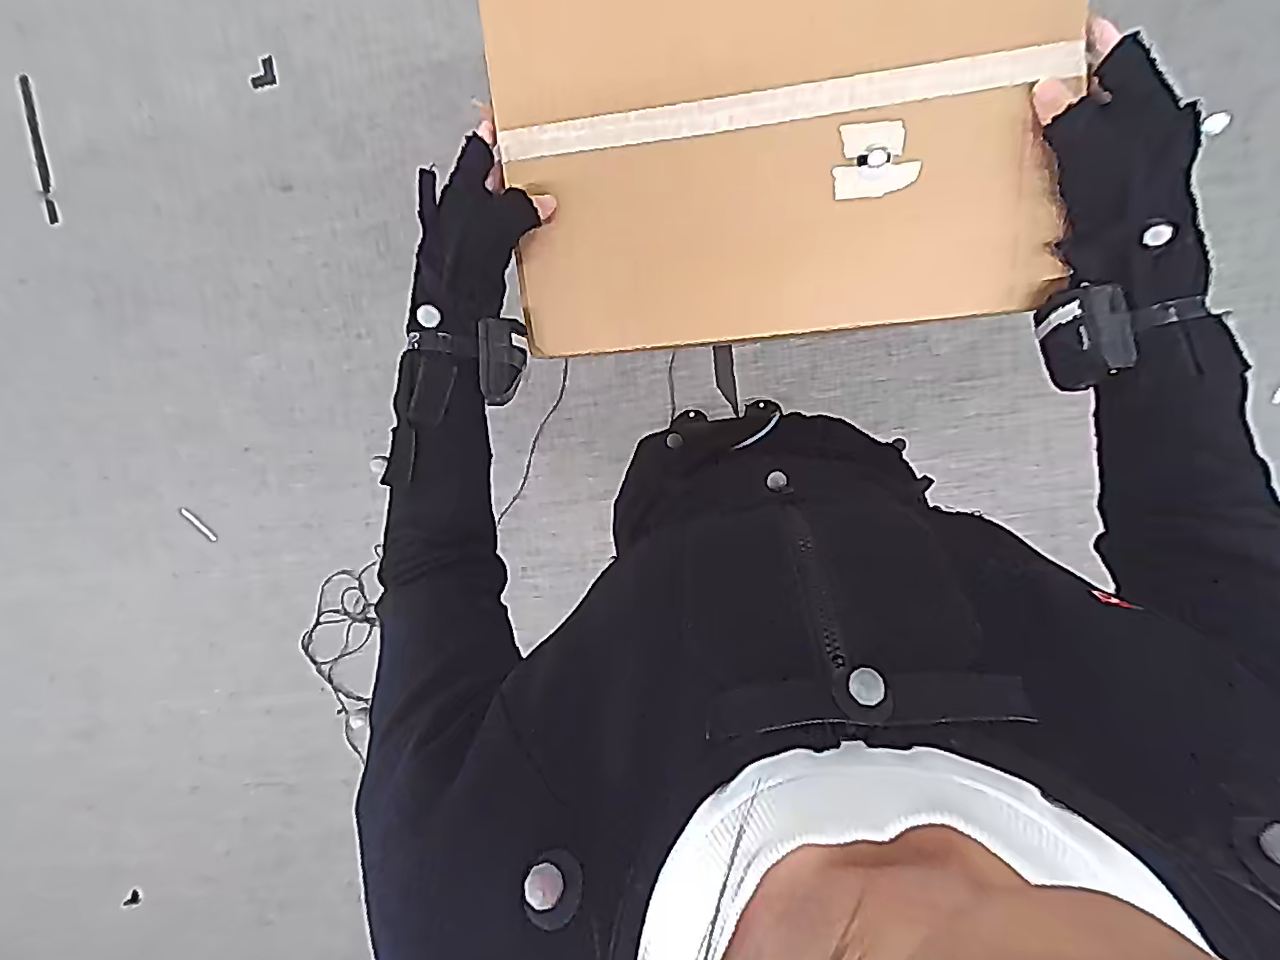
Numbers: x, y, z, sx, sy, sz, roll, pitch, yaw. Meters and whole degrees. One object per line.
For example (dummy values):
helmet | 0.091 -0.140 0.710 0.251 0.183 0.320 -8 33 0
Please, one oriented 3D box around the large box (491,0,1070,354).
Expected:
large box | 0.110 -0.306 0.541 0.408 0.320 0.320 -4 104 7
